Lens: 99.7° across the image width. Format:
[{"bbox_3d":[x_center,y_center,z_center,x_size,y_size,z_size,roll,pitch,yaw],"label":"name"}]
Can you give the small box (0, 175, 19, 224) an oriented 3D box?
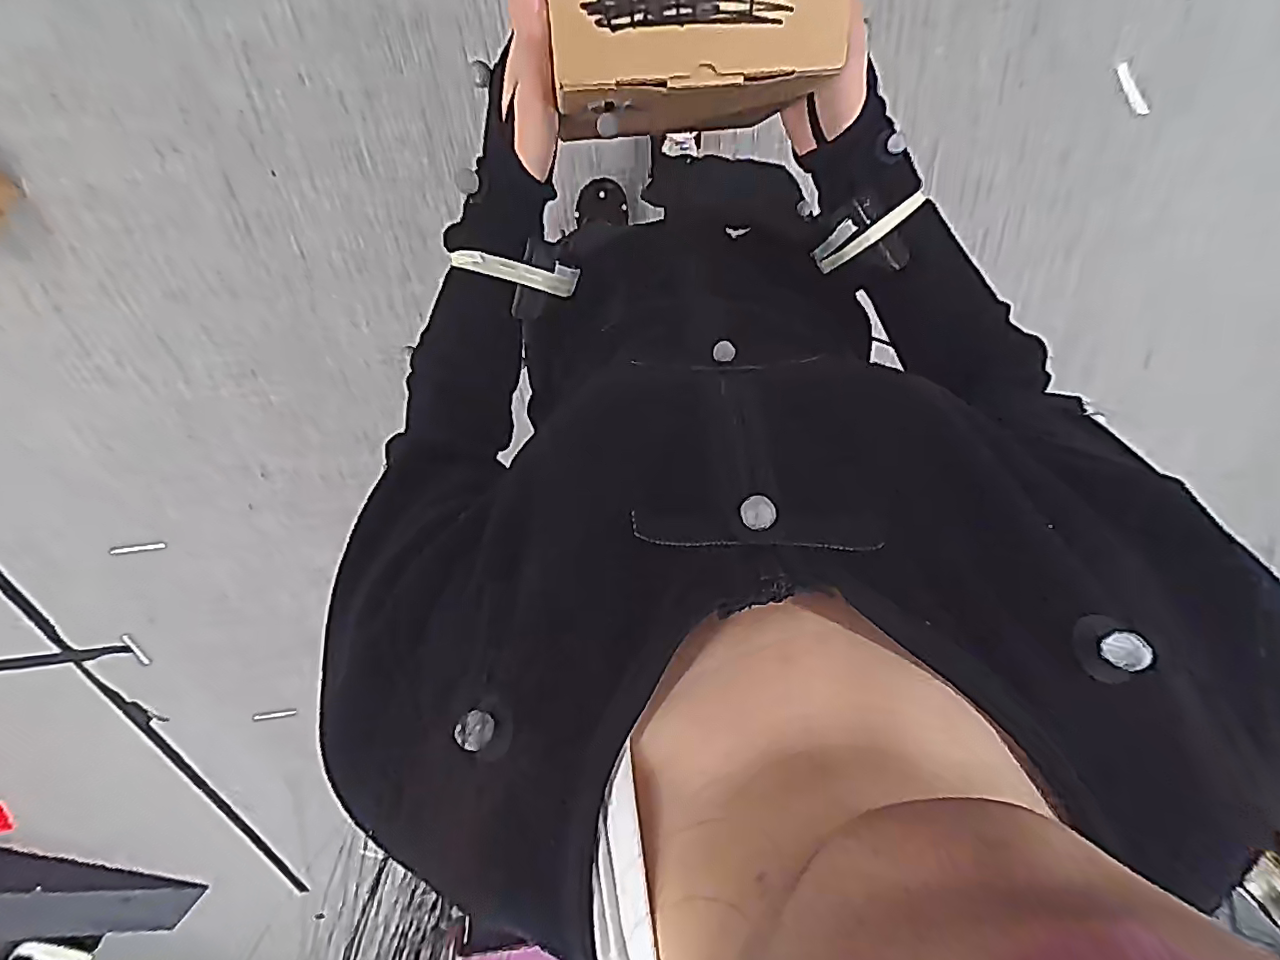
[{"bbox_3d":[-1.383,-0.560,1.036,0.168,0.176,0.179,-41,117,16],"label":"small box"}]
